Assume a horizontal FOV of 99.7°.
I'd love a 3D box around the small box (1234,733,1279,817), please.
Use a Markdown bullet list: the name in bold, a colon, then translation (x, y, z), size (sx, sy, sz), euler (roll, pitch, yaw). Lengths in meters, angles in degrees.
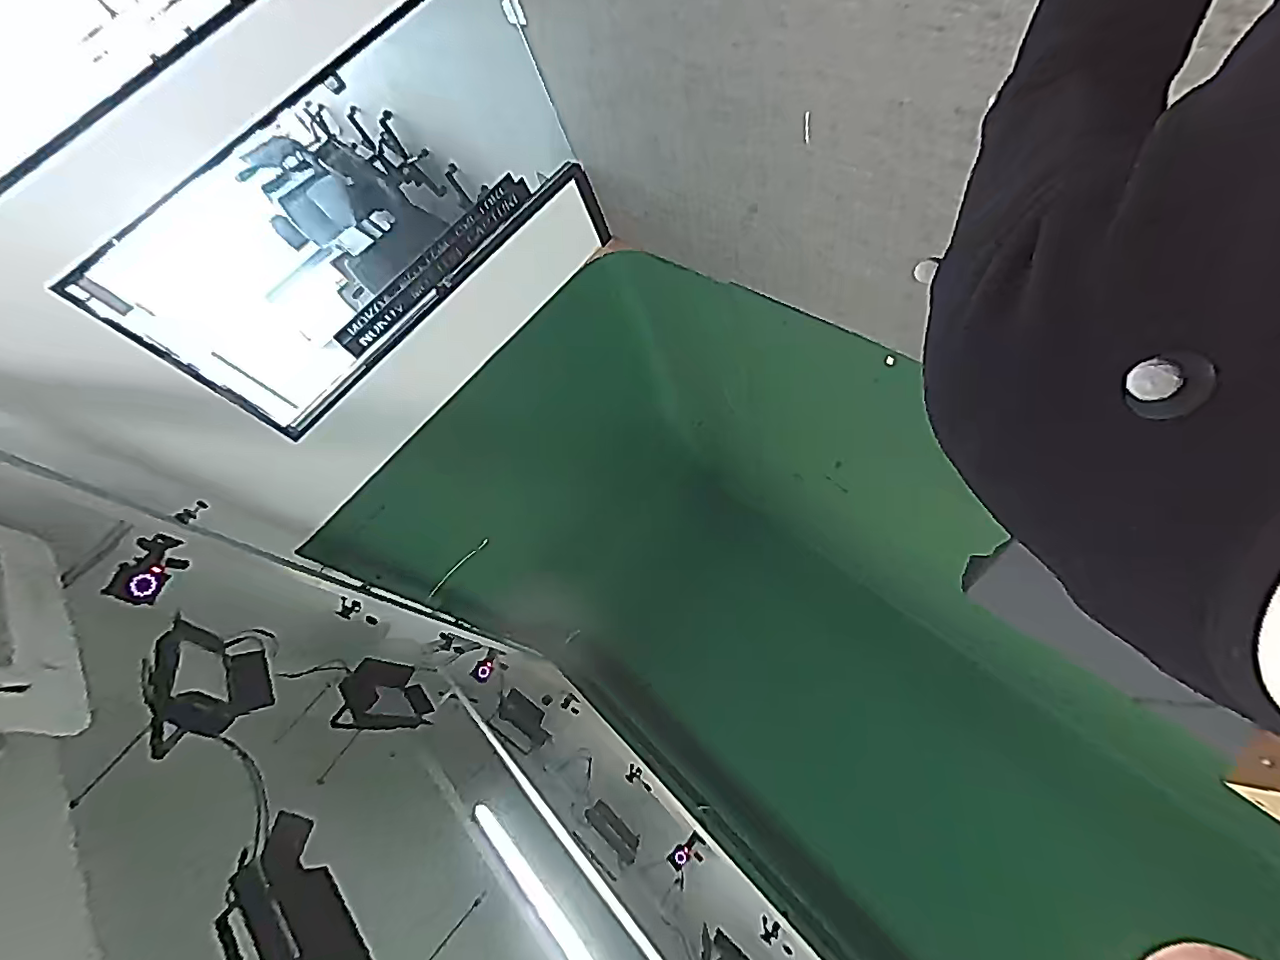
- **small box**: translation (1.557, 0.705, 1.241), size (0.168, 0.176, 0.179), euler (36, 169, 26)
